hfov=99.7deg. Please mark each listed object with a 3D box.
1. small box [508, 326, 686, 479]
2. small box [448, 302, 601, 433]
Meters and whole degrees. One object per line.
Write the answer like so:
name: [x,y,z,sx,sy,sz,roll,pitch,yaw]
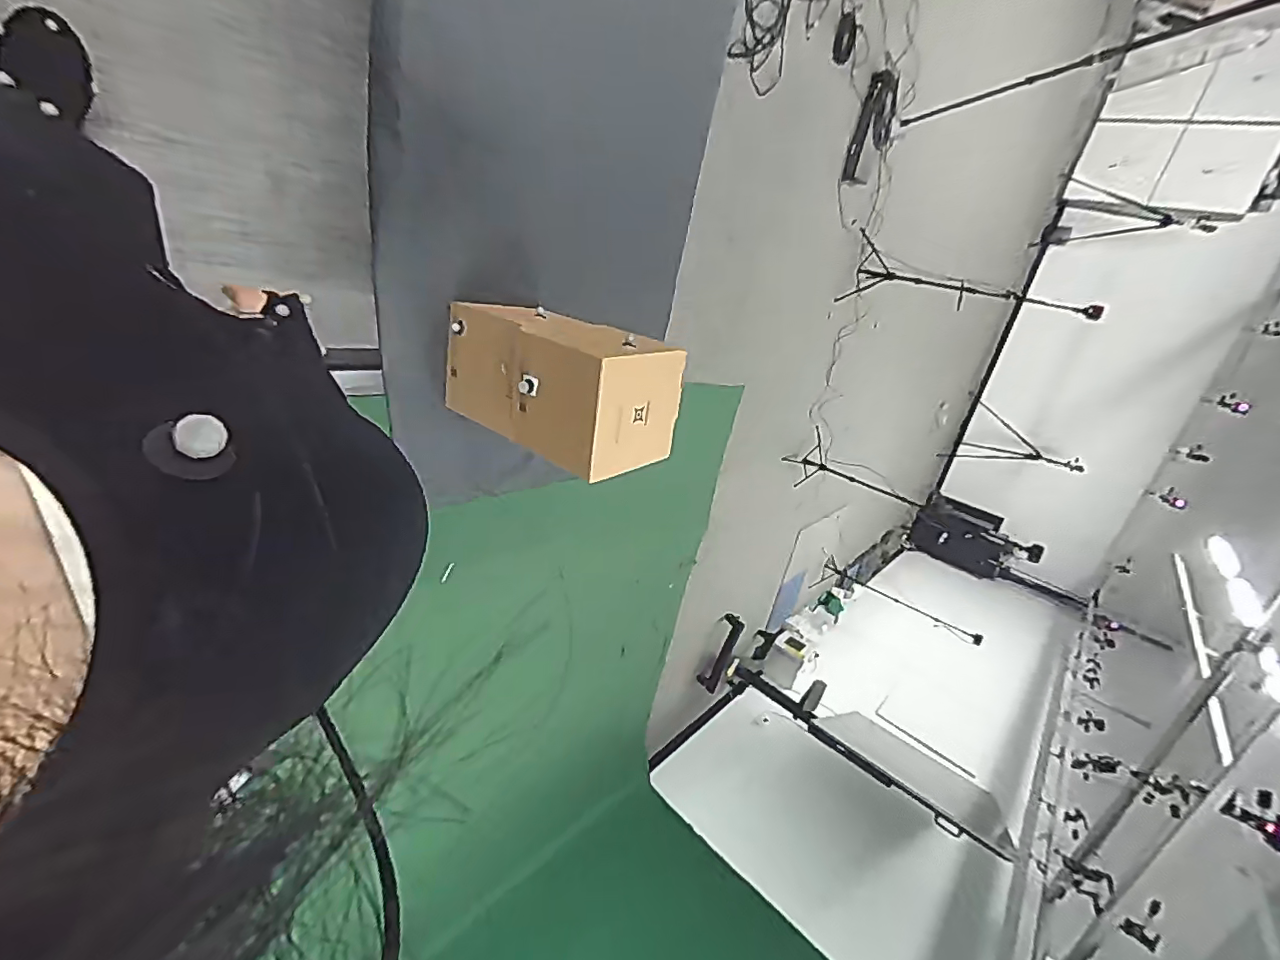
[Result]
small box: [-0.063,-0.121,0.767,0.179,0.176,0.168,-20,125,-47]
small box: [-0.183,-0.181,0.858,0.179,0.176,0.168,-17,124,-50]
